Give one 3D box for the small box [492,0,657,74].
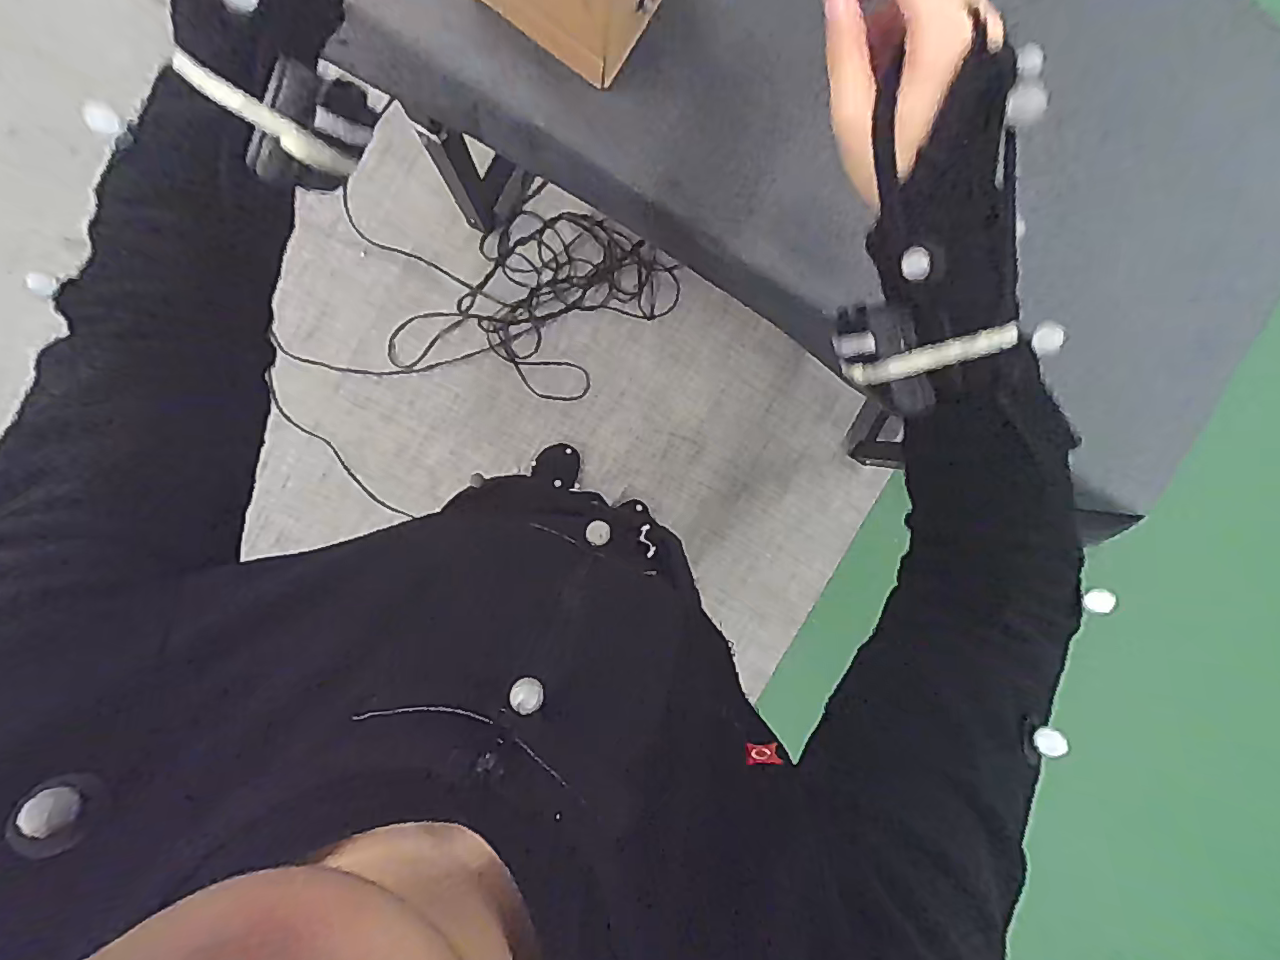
[{"bbox_3d":[-0.061,-0.540,0.504,0.179,0.176,0.168,32,91,-9],"label":"small box"}]
